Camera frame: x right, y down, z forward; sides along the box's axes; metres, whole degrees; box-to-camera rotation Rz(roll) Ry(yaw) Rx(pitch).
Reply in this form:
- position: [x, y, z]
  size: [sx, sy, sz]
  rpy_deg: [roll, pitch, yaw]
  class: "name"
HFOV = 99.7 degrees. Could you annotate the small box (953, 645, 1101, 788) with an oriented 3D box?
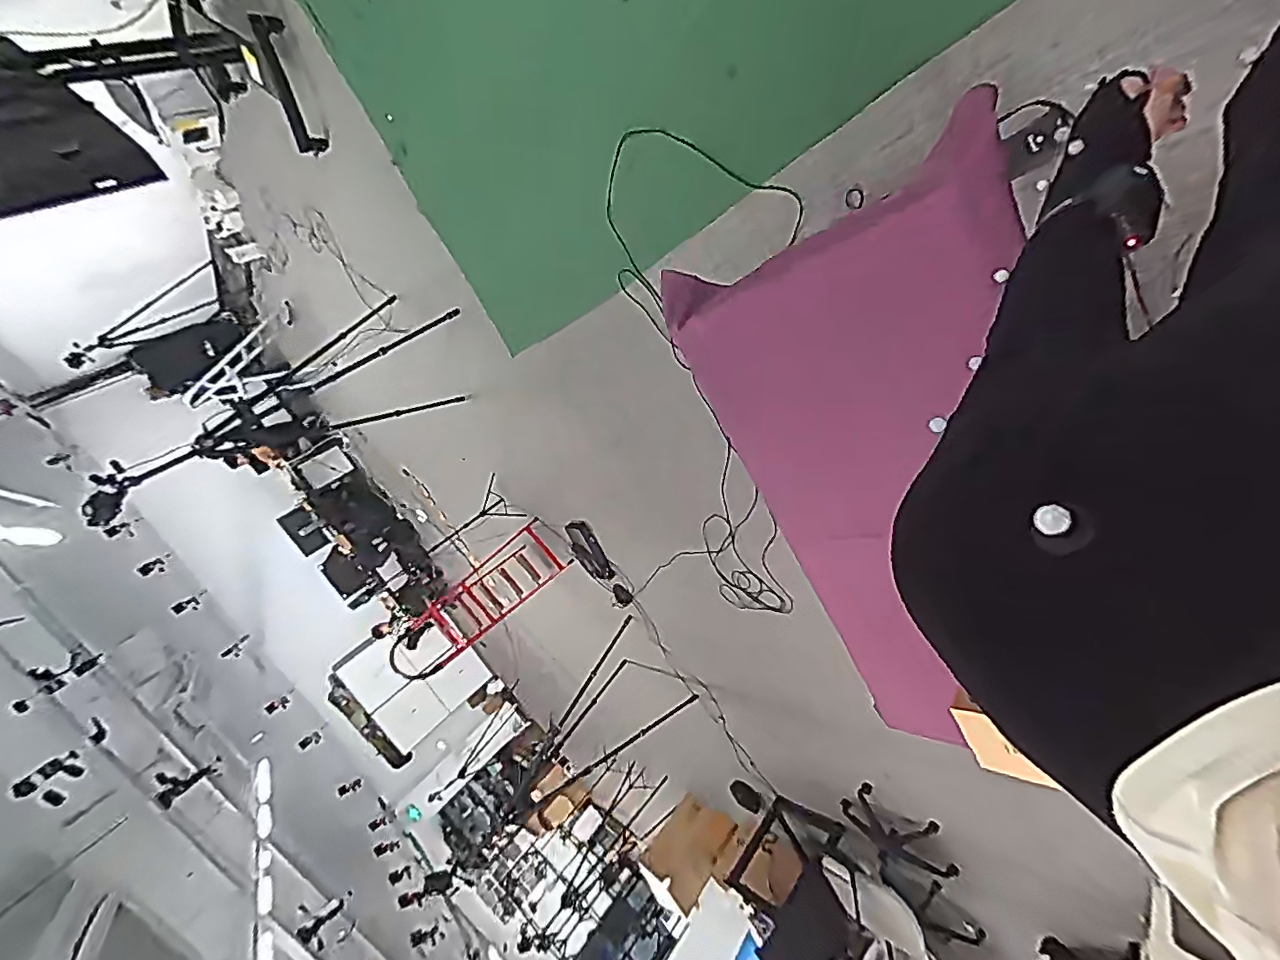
- position: [0.744, 0.439, 1.034]
  size: [0.179, 0.176, 0.168]
  rpy_deg: [-14, 112, 56]
  class: "small box"
